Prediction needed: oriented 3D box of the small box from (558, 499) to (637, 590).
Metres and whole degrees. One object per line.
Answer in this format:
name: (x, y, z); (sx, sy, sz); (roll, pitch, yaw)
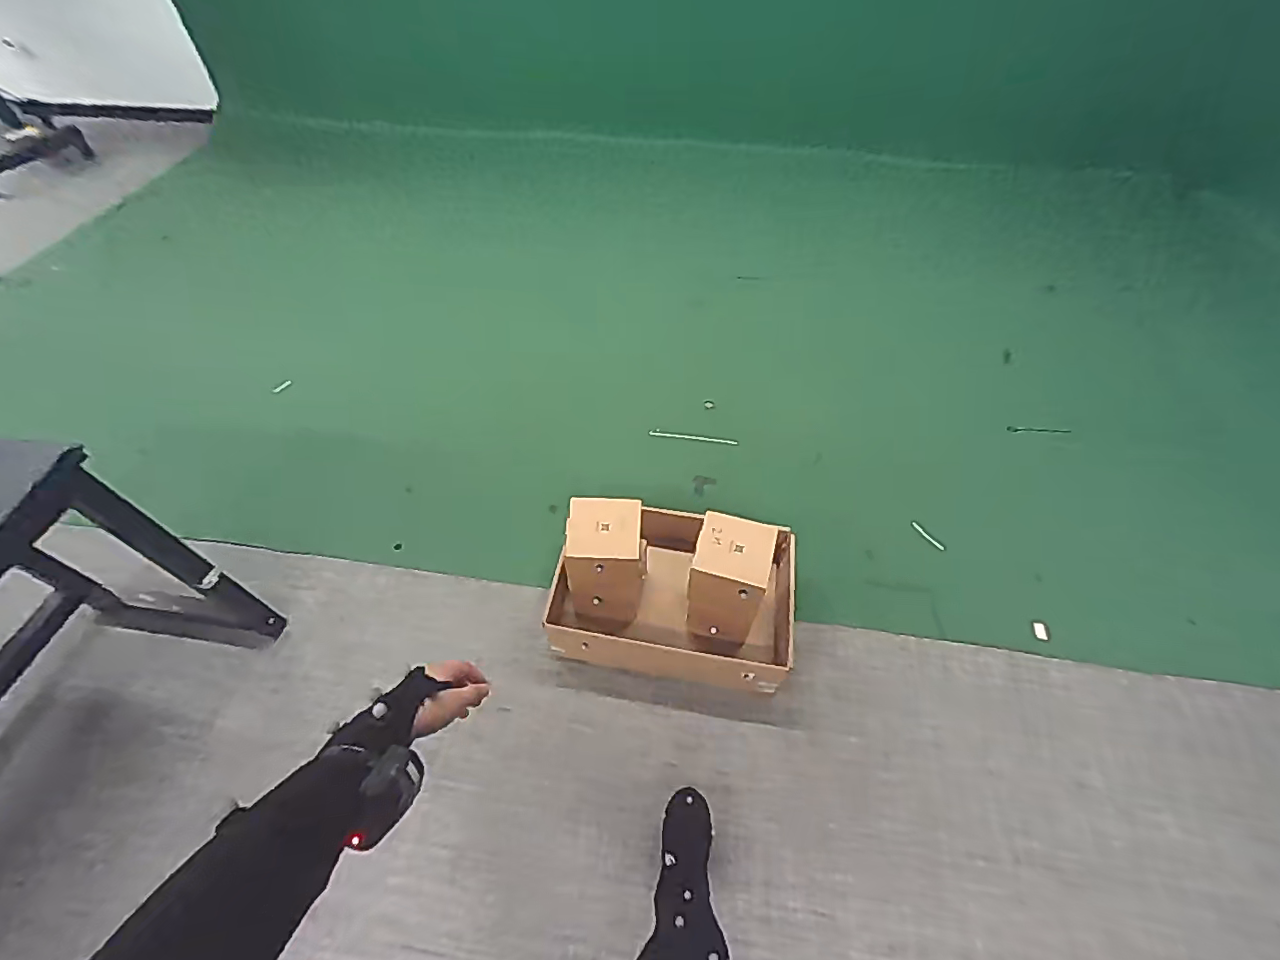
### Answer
small box: (-0.098, 0.161, 1.330); (0.179, 0.176, 0.168); (2, 54, -1)

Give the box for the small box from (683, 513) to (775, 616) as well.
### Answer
small box: (0.210, 0.209, 1.299); (0.179, 0.176, 0.168); (14, 54, 11)

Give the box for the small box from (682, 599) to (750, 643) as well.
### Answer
small box: (0.210, 0.304, 1.433); (0.168, 0.176, 0.179); (14, 56, 10)
